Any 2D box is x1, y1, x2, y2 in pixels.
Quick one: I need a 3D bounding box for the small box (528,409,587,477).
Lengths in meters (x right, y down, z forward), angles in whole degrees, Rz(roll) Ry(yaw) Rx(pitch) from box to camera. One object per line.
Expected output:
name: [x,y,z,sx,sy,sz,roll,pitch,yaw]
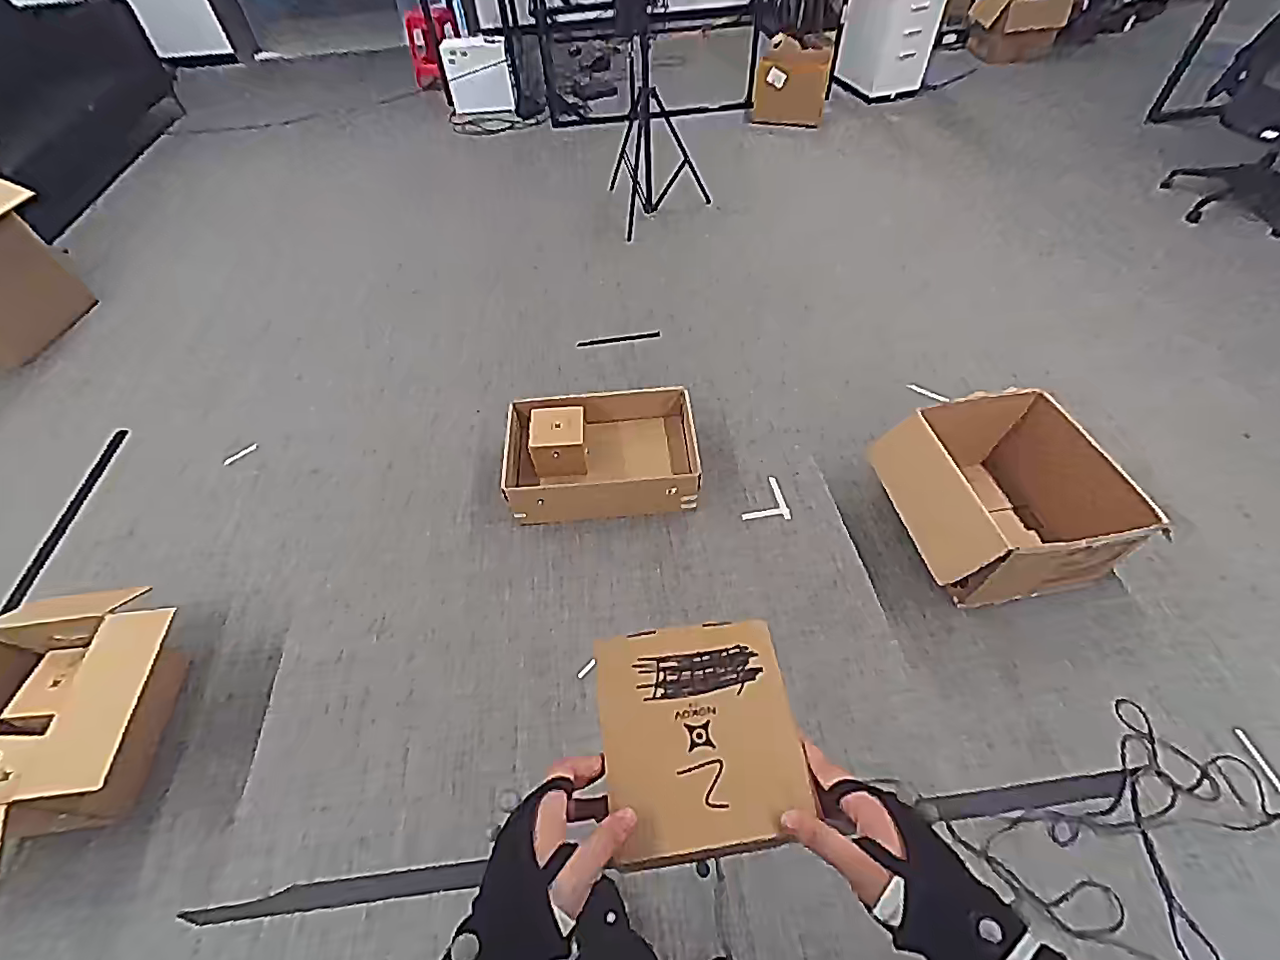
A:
small box: [-0.274,-0.122,1.830,0.179,0.176,0.168,-4,55,-2]
